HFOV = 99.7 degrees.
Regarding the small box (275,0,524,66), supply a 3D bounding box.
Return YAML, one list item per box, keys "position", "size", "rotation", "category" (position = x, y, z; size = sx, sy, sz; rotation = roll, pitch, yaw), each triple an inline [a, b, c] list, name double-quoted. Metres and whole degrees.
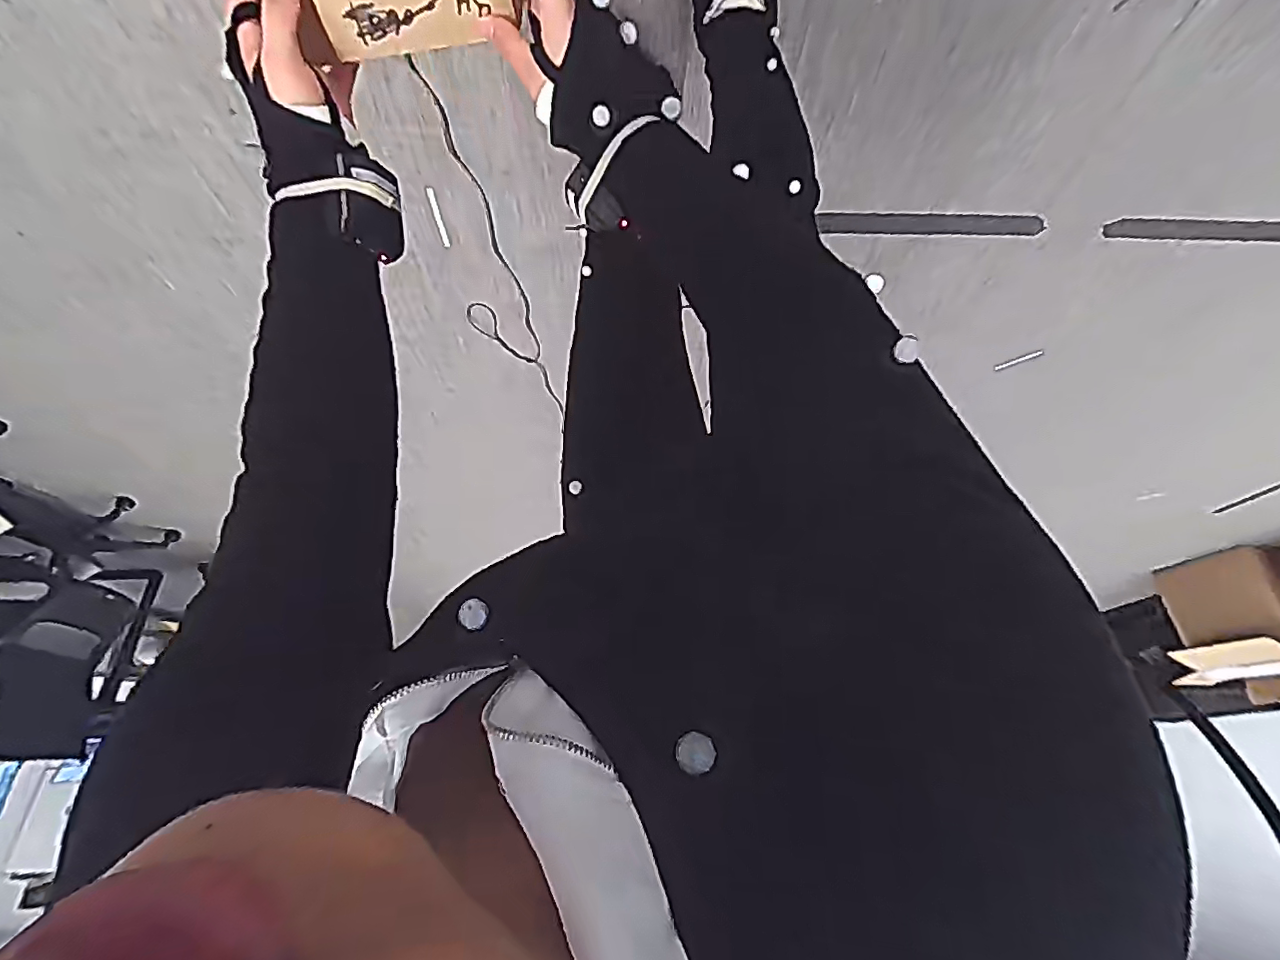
- position: [-0.181, -0.434, 0.370]
  size: [0.168, 0.176, 0.179]
  rotation: [-5, 152, 4]
  category: "small box"
